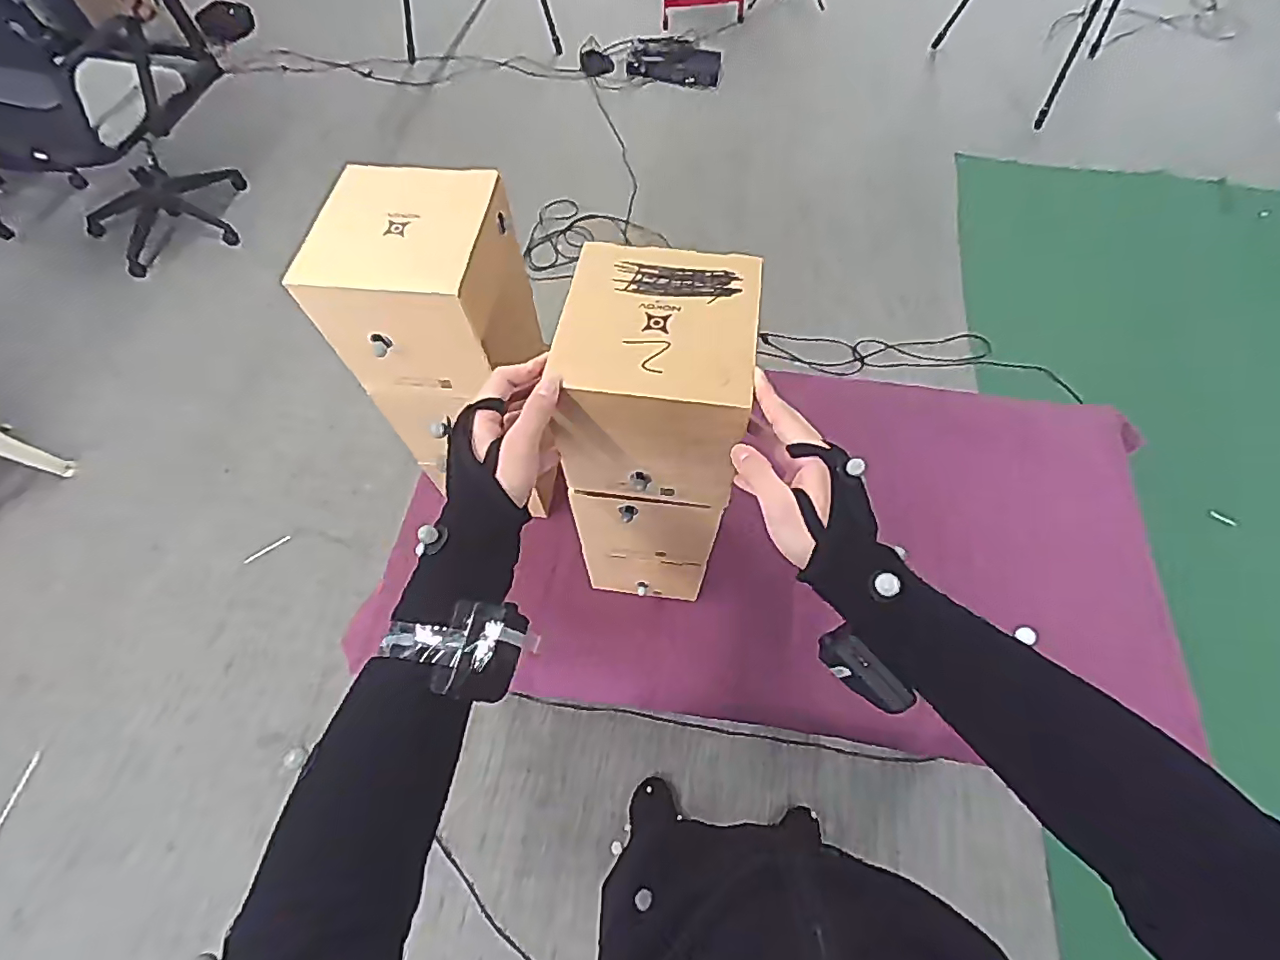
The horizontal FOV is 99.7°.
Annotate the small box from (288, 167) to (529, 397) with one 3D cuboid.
[{"bbox_3d":[-0.230,-0.208,0.593,0.168,0.176,0.179,4,63,4],"label":"small box"}]

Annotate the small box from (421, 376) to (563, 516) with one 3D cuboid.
[{"bbox_3d":[-0.226,-0.059,0.882,0.168,0.176,0.179,5,64,4],"label":"small box"}]

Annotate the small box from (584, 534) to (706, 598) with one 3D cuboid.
[{"bbox_3d":[0.017,0.063,0.817,0.168,0.176,0.179,7,63,4],"label":"small box"}]

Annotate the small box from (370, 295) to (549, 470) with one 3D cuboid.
[{"bbox_3d":[-0.227,-0.135,0.738,0.168,0.176,0.179,5,64,4],"label":"small box"}]

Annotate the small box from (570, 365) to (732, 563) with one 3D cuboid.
[{"bbox_3d":[0.017,-0.015,0.672,0.168,0.176,0.179,6,62,4],"label":"small box"}]
